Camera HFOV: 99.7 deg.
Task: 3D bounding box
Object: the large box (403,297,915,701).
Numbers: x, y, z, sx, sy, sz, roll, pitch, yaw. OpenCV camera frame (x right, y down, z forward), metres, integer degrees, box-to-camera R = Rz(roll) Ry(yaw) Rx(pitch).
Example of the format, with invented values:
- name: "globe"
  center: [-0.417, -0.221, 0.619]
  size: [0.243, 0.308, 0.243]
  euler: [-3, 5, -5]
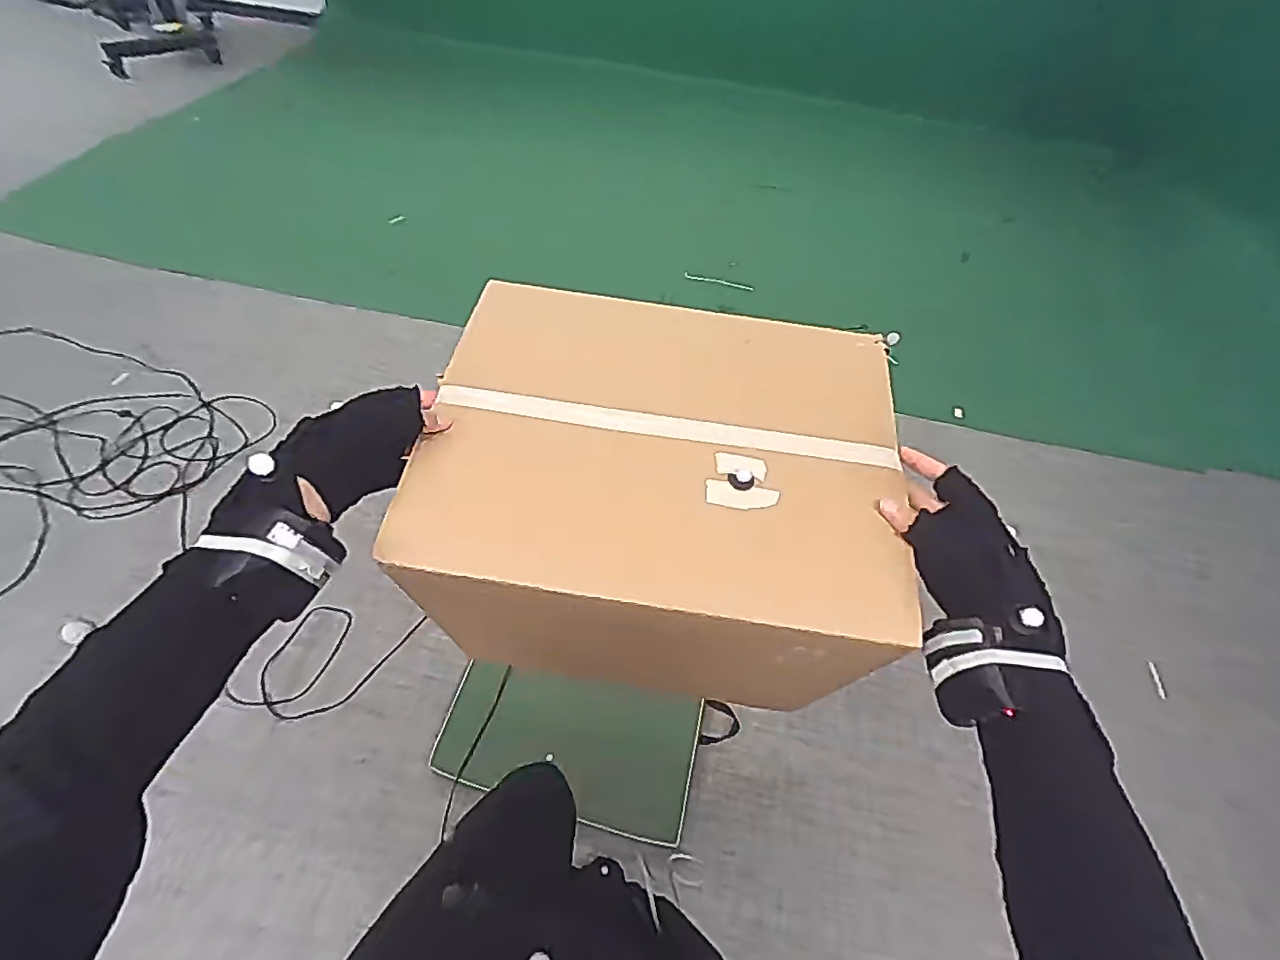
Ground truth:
- name: "large box"
  center: [0.020, 0.039, 0.612]
  size: [0.408, 0.320, 0.320]
  euler: [9, 59, 1]
